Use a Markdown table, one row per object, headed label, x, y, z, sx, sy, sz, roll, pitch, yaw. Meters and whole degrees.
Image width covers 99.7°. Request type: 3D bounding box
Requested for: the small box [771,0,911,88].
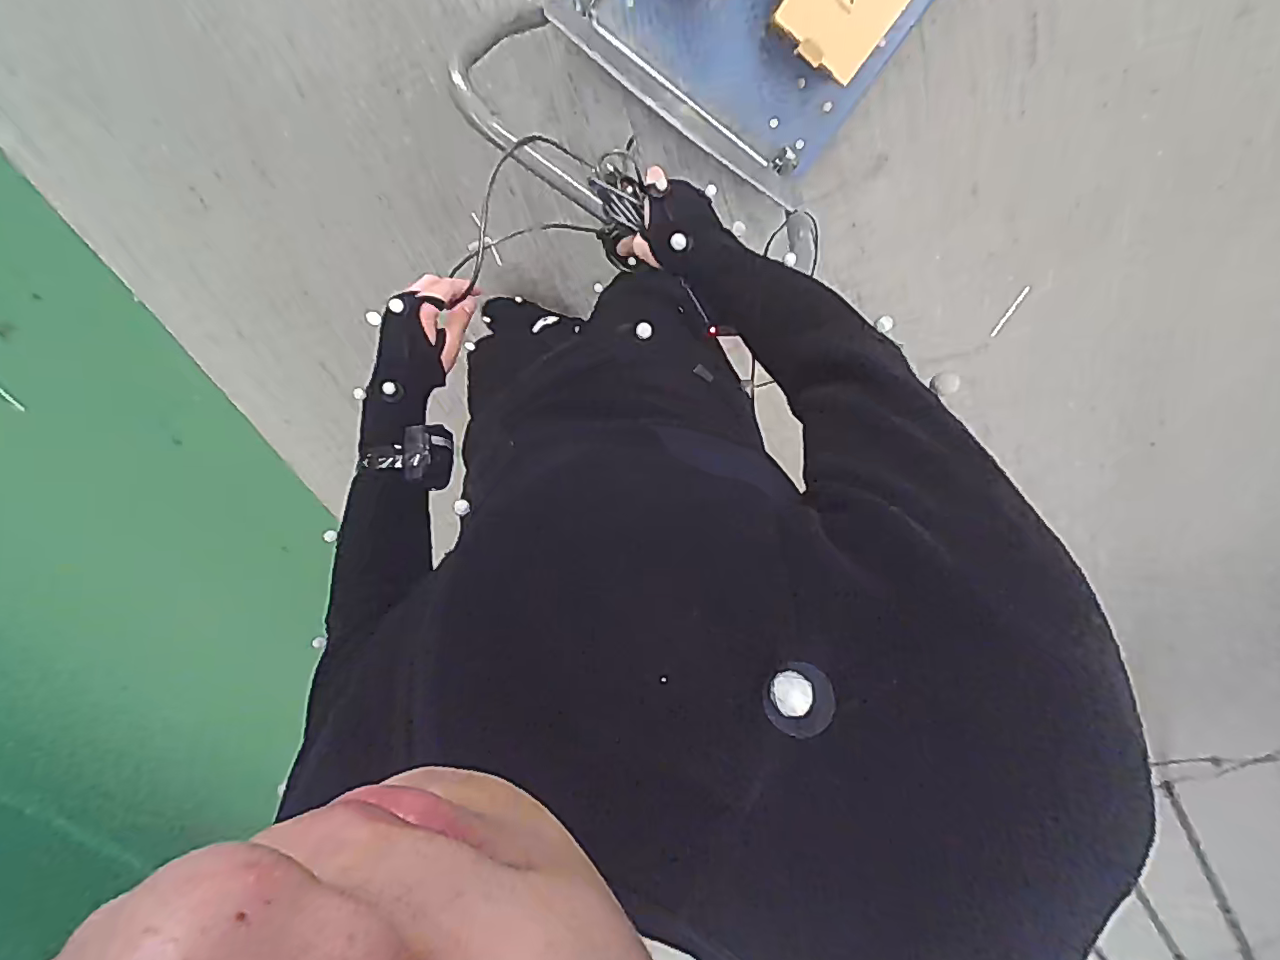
| label | x | y | z | sx | sy | sz | roll | pitch | yaw |
| --- | --- | --- | --- | --- | --- | --- | --- | --- | --- |
| small box | 0.336 | -0.812 | 0.911 | 0.168 | 0.176 | 0.179 | 31 | 129 | -17 |
